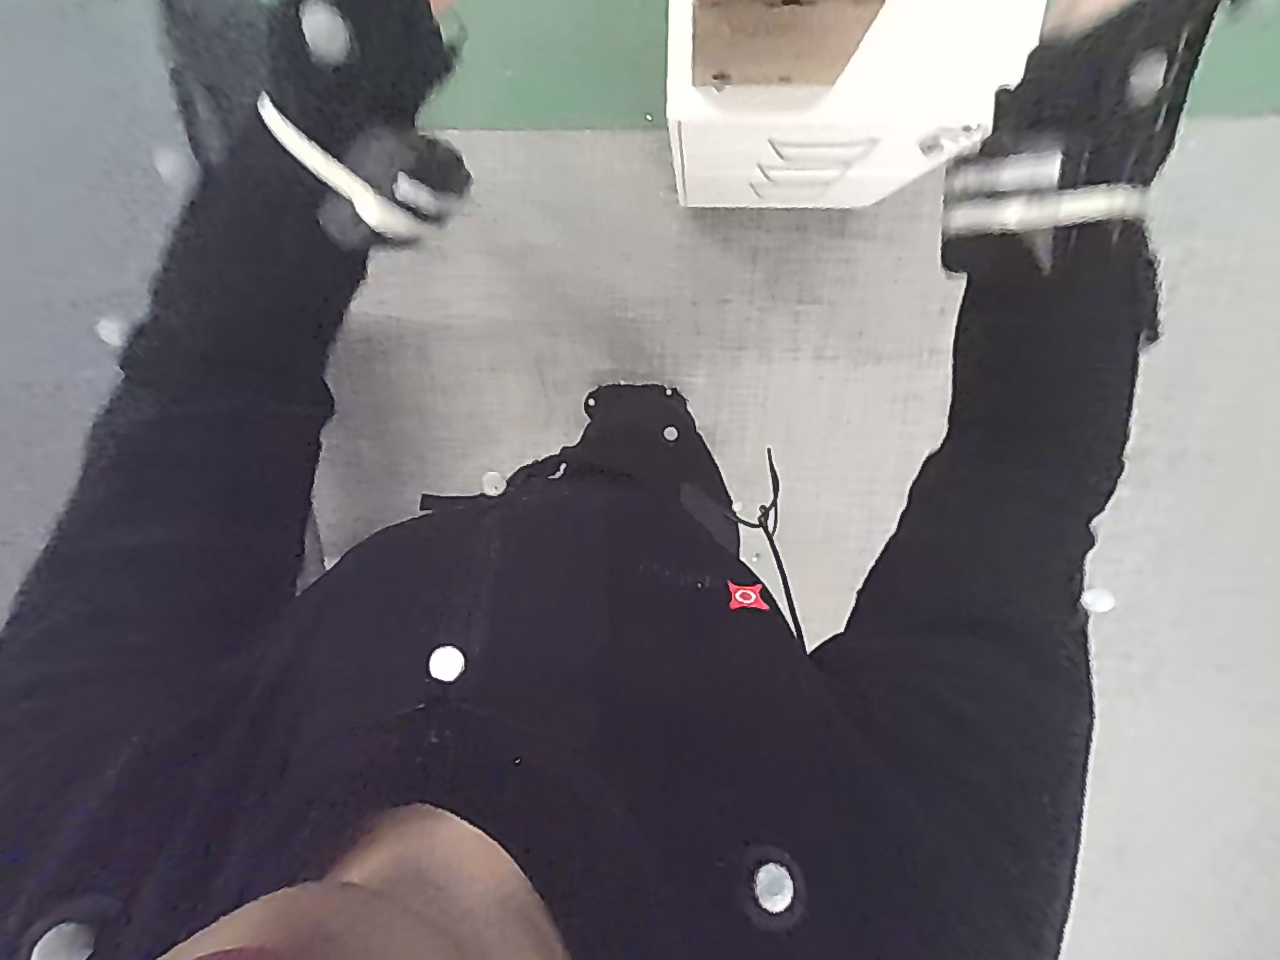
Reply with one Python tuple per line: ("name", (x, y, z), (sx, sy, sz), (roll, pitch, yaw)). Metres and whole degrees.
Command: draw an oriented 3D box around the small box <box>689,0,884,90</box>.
("small box", (0.133, -0.499, 0.512), (0.168, 0.176, 0.179), (3, 106, 3))
